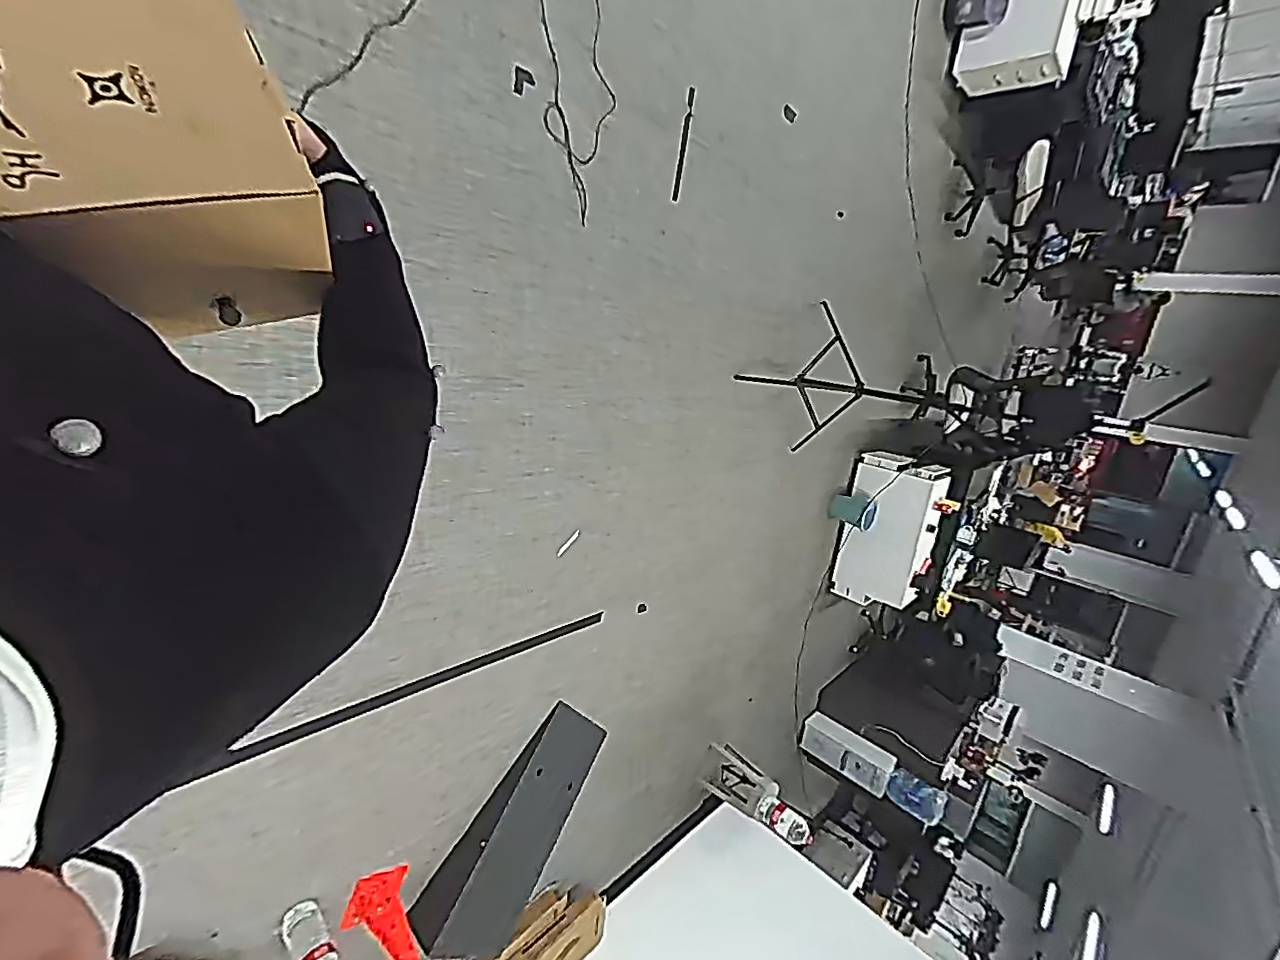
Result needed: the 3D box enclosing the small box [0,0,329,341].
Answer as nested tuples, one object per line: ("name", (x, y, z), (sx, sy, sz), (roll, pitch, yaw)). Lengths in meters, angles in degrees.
("small box", (-0.372, -0.236, 0.437), (0.179, 0.176, 0.168), (-23, 86, -29))
